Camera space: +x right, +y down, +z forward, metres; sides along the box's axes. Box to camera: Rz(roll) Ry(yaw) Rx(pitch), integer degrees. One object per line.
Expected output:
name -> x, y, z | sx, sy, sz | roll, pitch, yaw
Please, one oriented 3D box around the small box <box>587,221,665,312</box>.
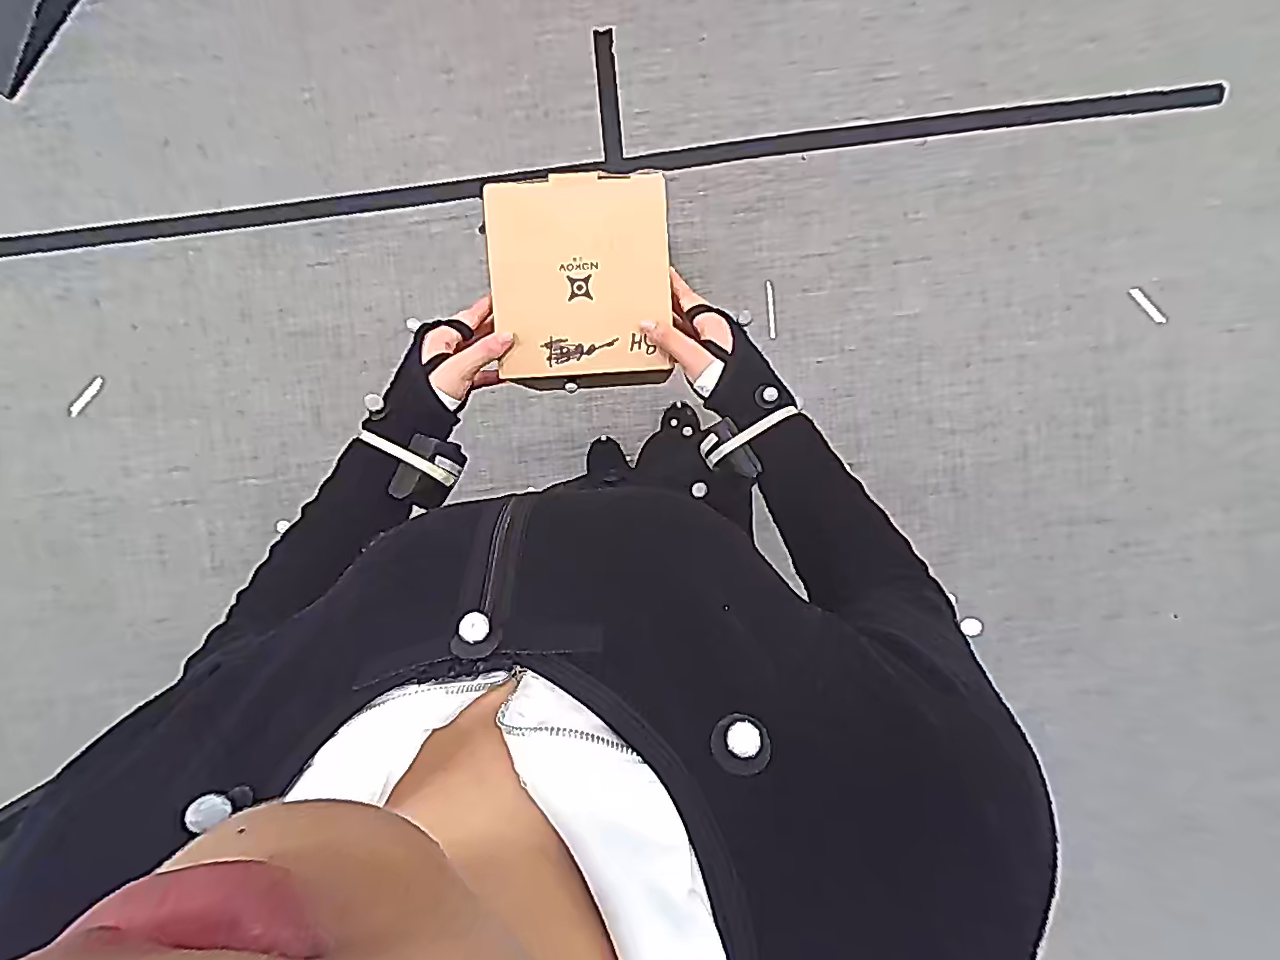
small box -> -0.034, -0.534, 1.371 | 0.179, 0.176, 0.168 | -6, 94, 2
